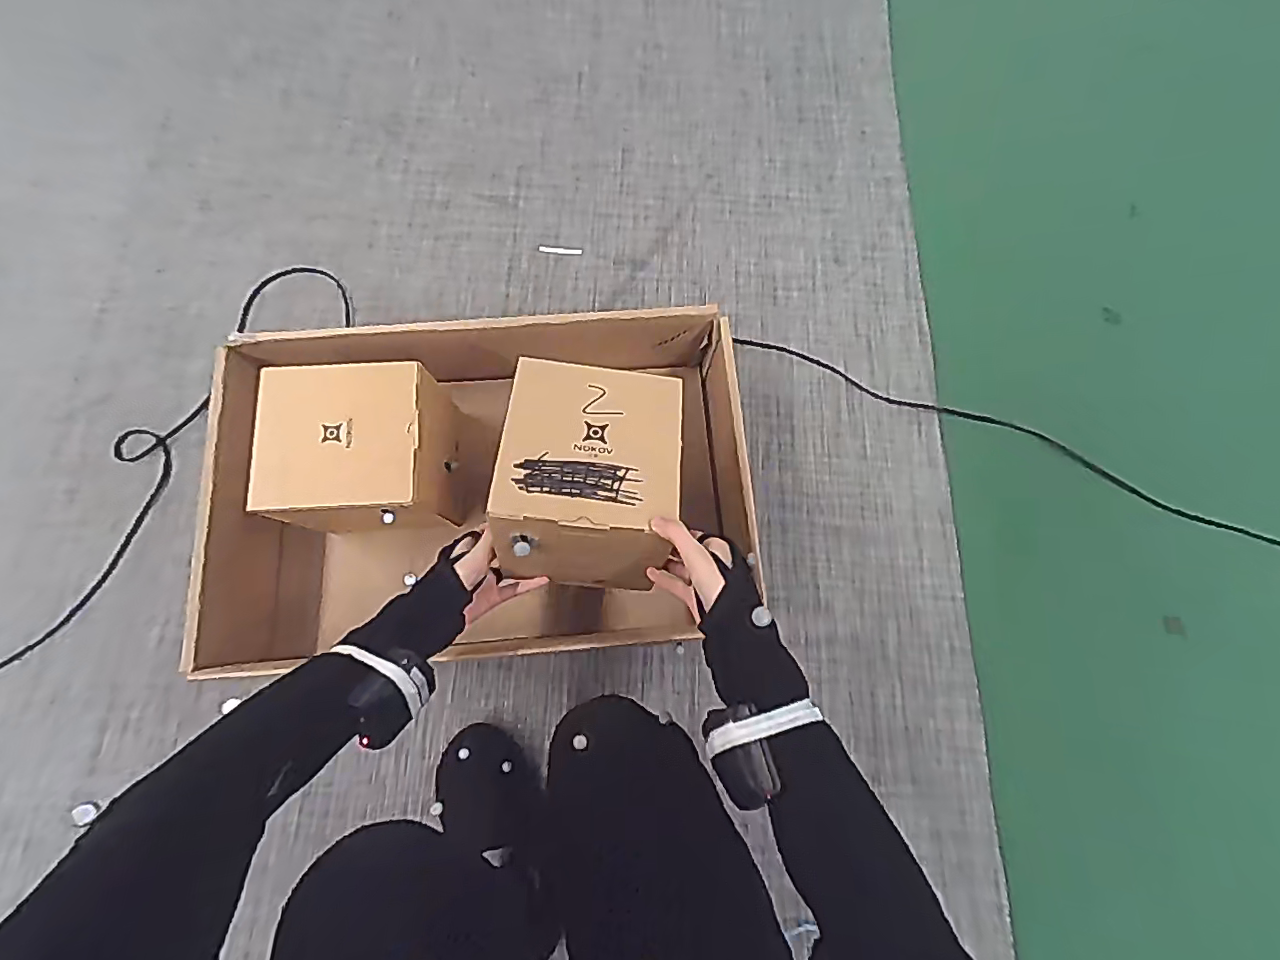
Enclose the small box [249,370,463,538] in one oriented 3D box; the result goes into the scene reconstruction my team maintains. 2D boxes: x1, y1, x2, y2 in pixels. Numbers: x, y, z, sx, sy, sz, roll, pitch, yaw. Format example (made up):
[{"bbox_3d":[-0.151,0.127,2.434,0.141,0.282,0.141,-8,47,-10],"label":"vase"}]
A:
[{"bbox_3d":[-0.334,-0.023,0.670,0.179,0.176,0.168,-3,76,-3],"label":"small box"}]
